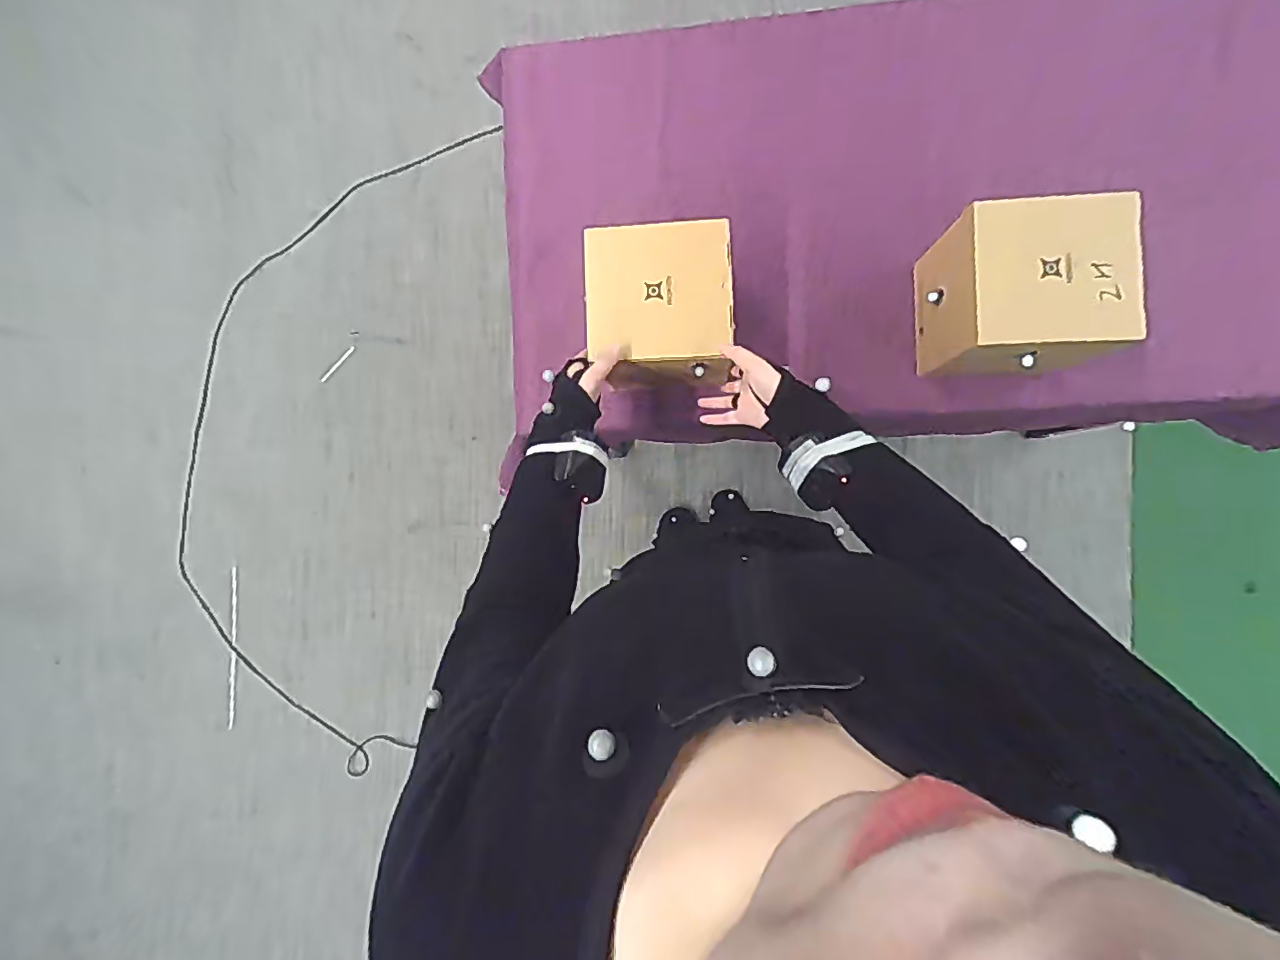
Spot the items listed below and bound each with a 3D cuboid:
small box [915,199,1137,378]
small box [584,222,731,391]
[{"bbox_3d":[0.466,-0.227,0.682,0.179,0.176,0.168,0,88,5],"label":"small box"},{"bbox_3d":[0.027,-0.218,0.724,0.179,0.176,0.168,-2,87,4],"label":"small box"}]
